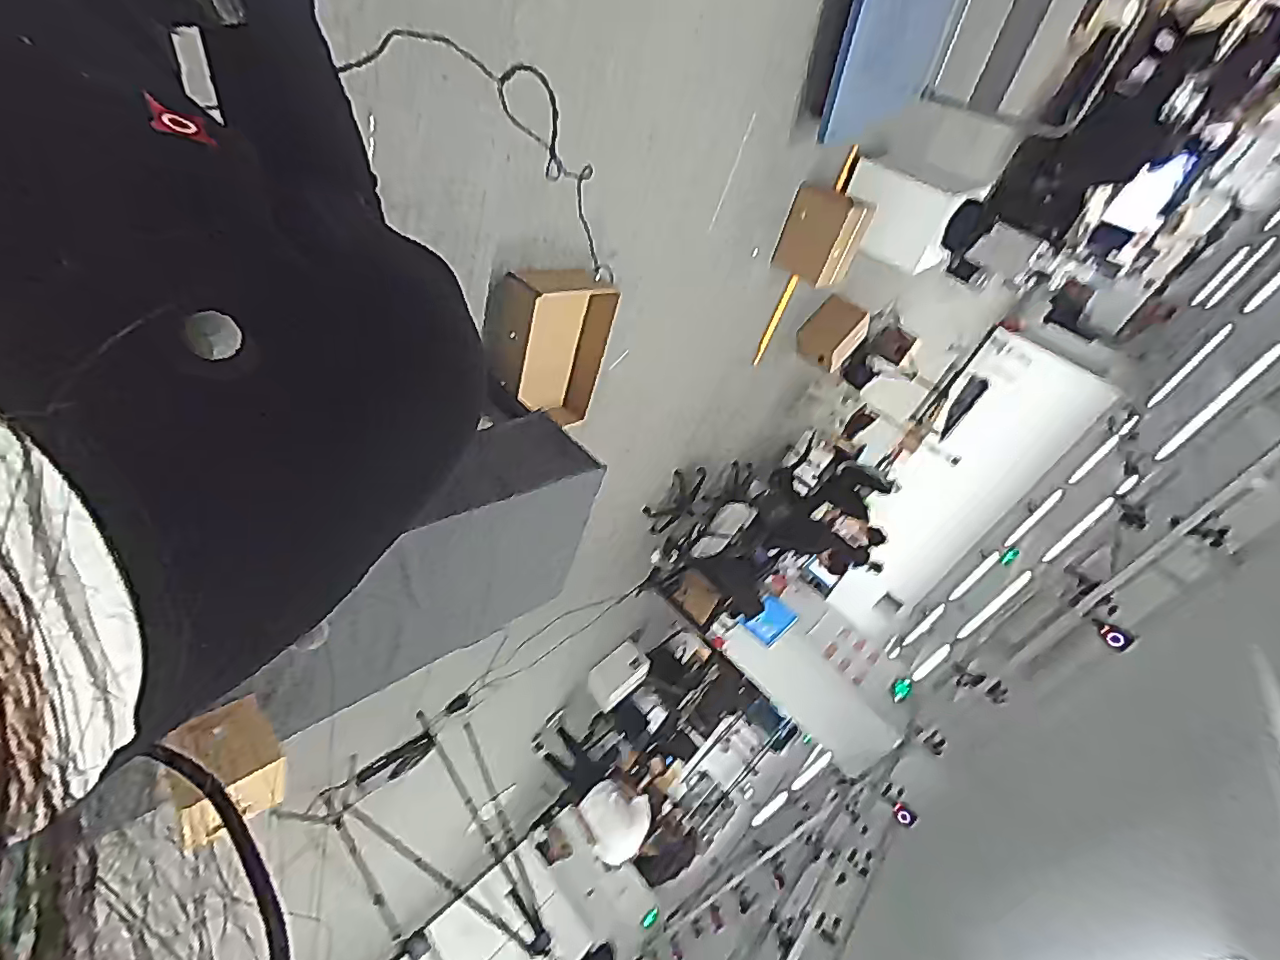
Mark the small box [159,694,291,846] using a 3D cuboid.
[{"bbox_3d":[-0.820,0.566,1.073,0.168,0.176,0.179,-19,141,-49],"label":"small box"}]
